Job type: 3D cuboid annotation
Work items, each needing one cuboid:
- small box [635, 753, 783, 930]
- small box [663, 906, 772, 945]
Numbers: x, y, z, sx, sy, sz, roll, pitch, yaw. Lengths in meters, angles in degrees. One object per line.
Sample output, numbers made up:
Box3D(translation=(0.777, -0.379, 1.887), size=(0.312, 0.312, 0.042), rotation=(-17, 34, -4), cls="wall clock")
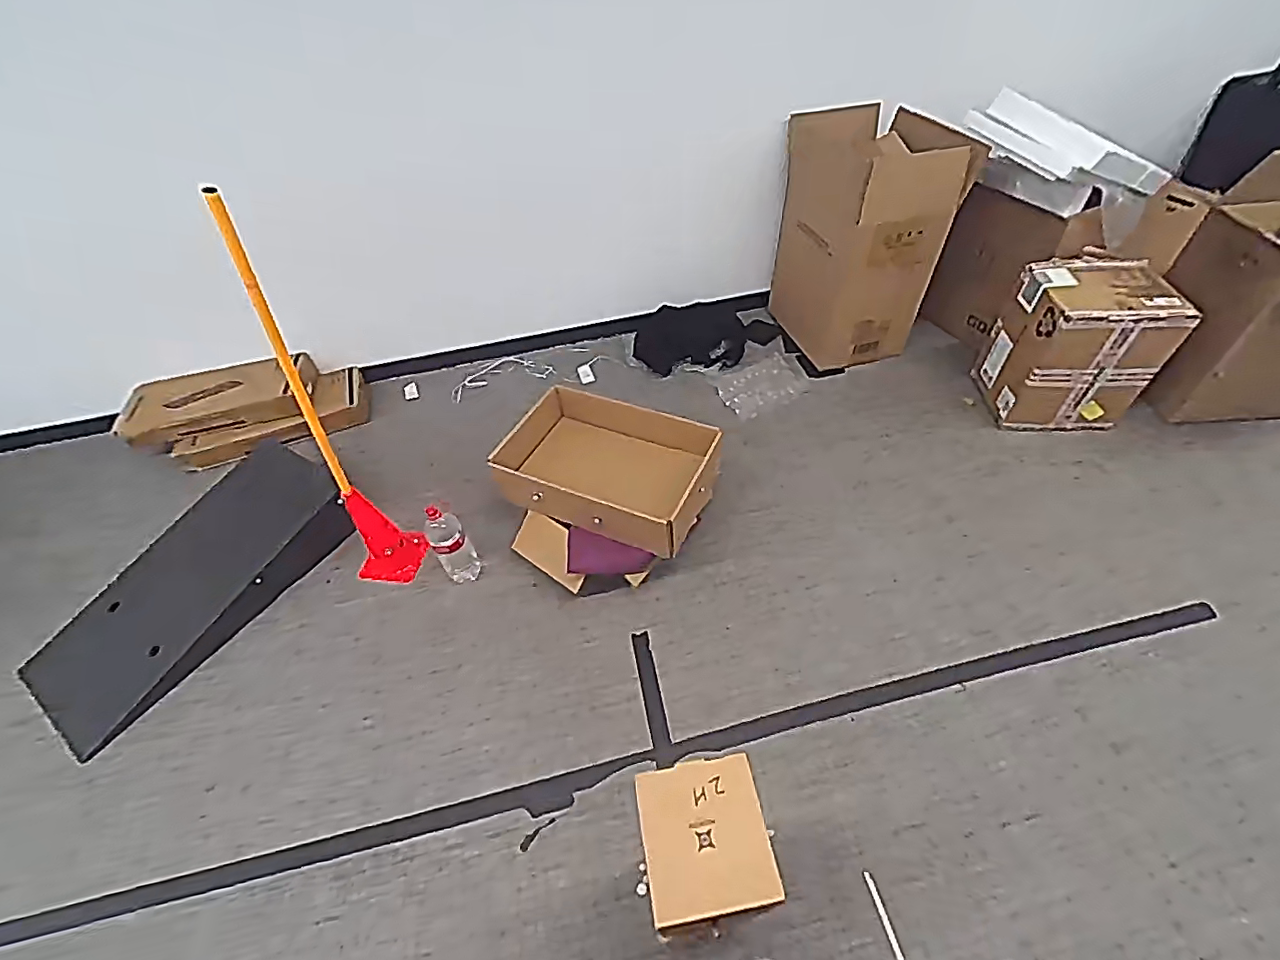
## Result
Box3D(translation=(0.092, 0.521, 0.774), size=(0.168, 0.176, 0.179), rotation=(-9, 47, -4), cls="small box")
Box3D(translation=(0.100, 0.633, 0.894), size=(0.168, 0.176, 0.179), rotation=(-13, 48, -6), cls="small box")
